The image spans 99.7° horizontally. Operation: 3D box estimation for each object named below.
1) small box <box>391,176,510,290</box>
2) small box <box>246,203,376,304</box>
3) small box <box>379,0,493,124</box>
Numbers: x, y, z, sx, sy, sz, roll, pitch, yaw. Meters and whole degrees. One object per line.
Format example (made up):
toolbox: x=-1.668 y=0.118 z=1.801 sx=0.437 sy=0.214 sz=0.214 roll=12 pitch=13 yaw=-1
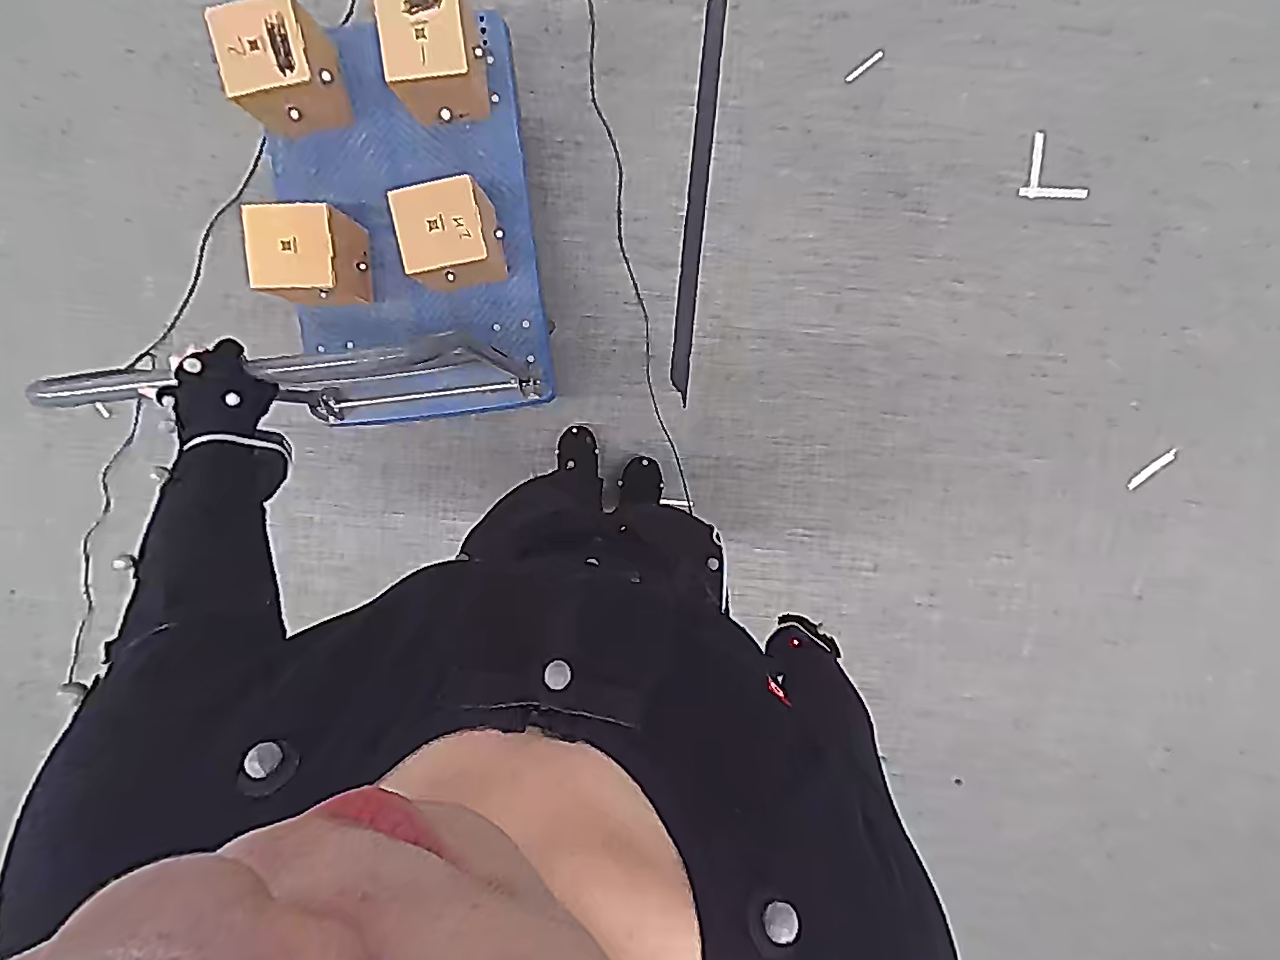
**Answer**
small box: x=-0.399 y=-0.521 z=1.165 sx=0.179 sy=0.176 sz=0.168 roll=-10 pitch=97 yaw=2
small box: x=-0.705 y=-0.483 z=1.175 sx=0.179 sy=0.176 sz=0.168 roll=-2 pitch=97 yaw=0
small box: x=-0.415 y=-0.879 z=1.120 sx=0.168 sy=0.176 sz=0.179 roll=-5 pitch=98 yaw=2
